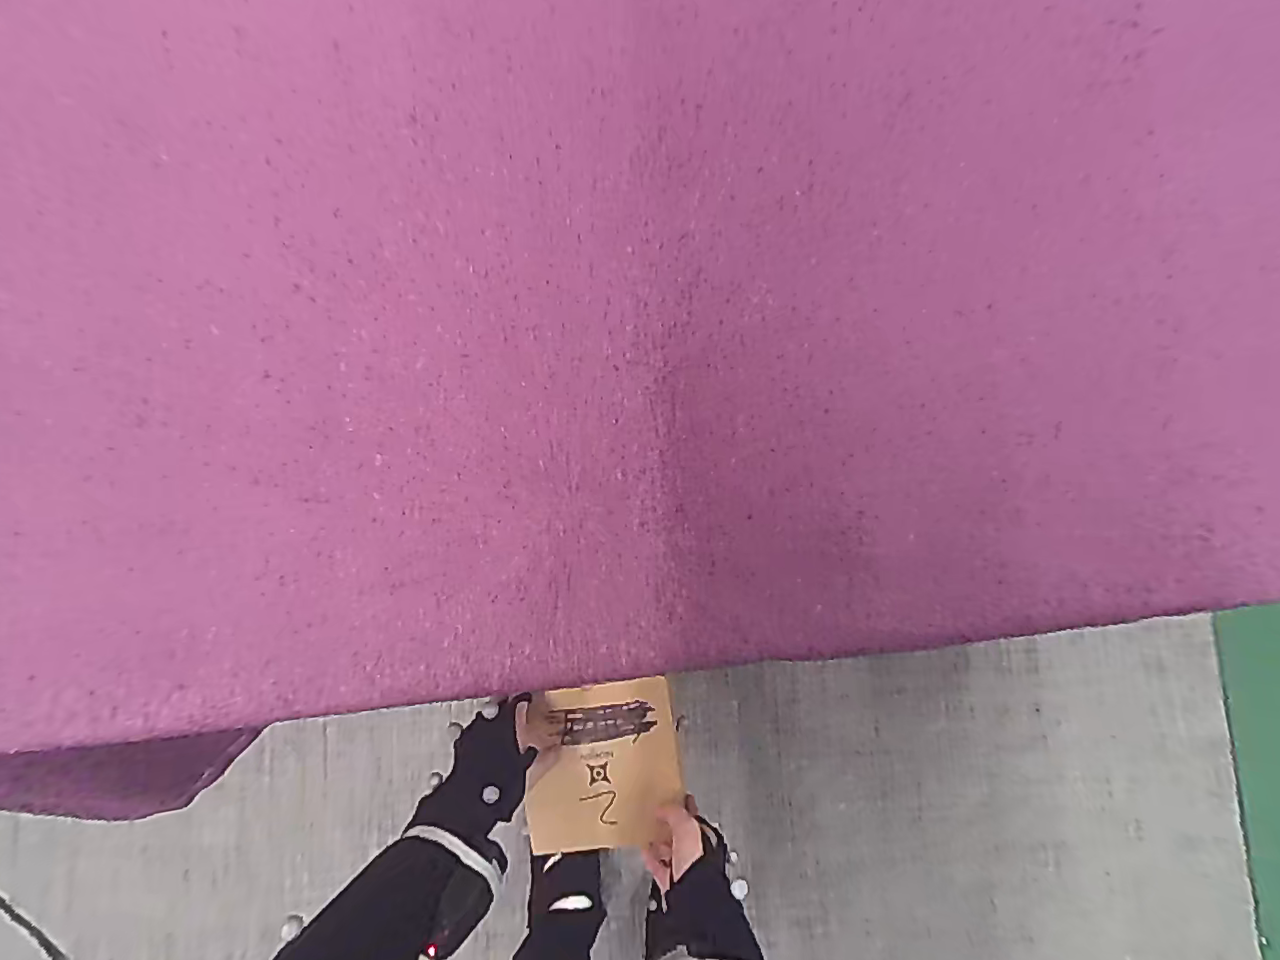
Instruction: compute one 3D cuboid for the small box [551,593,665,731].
[{"bbox_3d":[-0.048,0.282,0.871,0.168,0.176,0.179,-3,84,-2],"label":"small box"}]
